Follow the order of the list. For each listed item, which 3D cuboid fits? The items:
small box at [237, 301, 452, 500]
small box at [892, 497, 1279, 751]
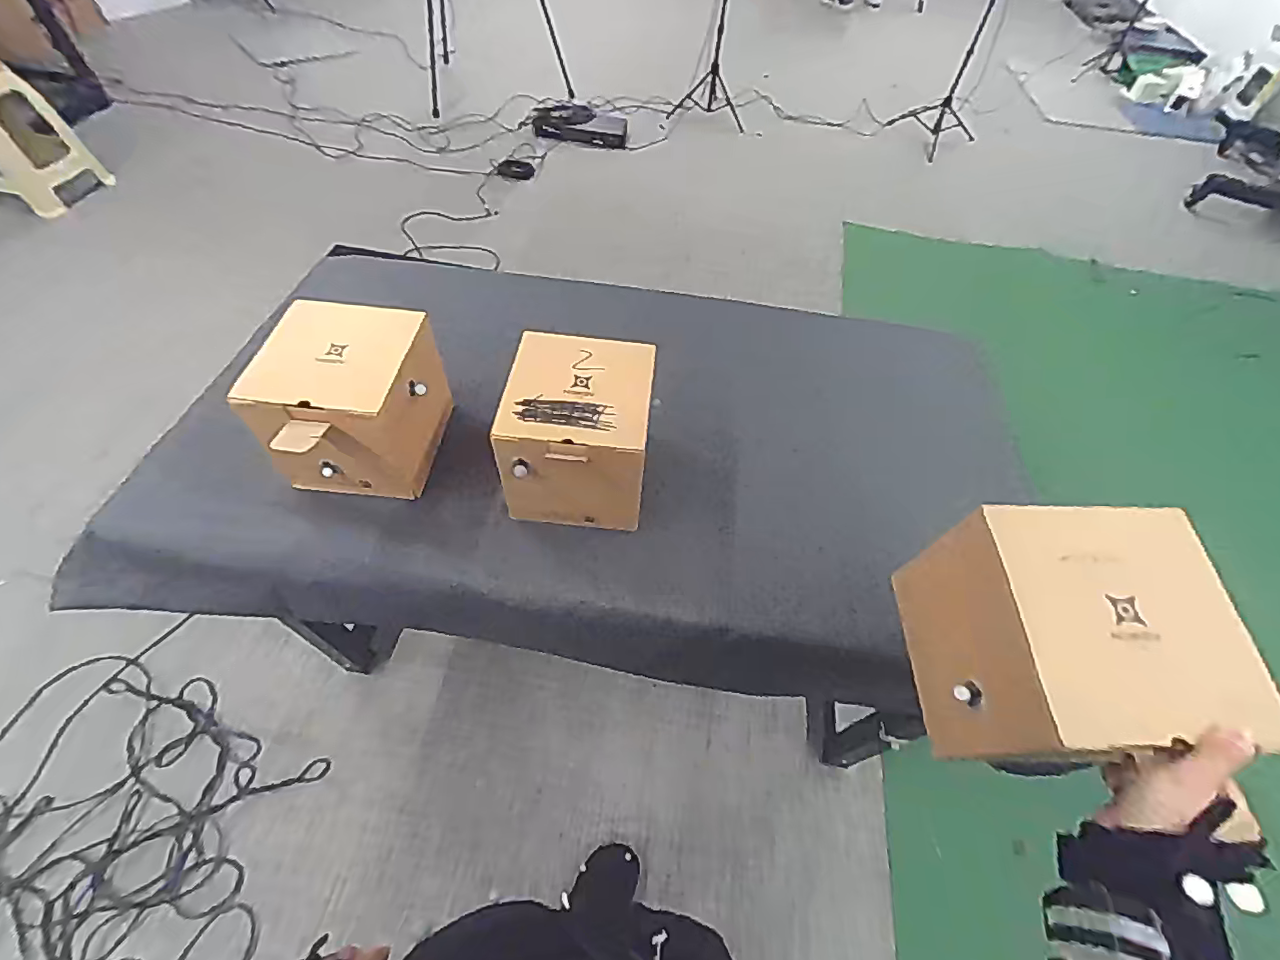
[{"bbox_3d":[-0.353,-0.098,0.694,0.168,0.176,0.179,6,54,-1],"label":"small box"},{"bbox_3d":[0.345,0.130,0.460,0.168,0.176,0.179,1,59,-3],"label":"small box"}]
